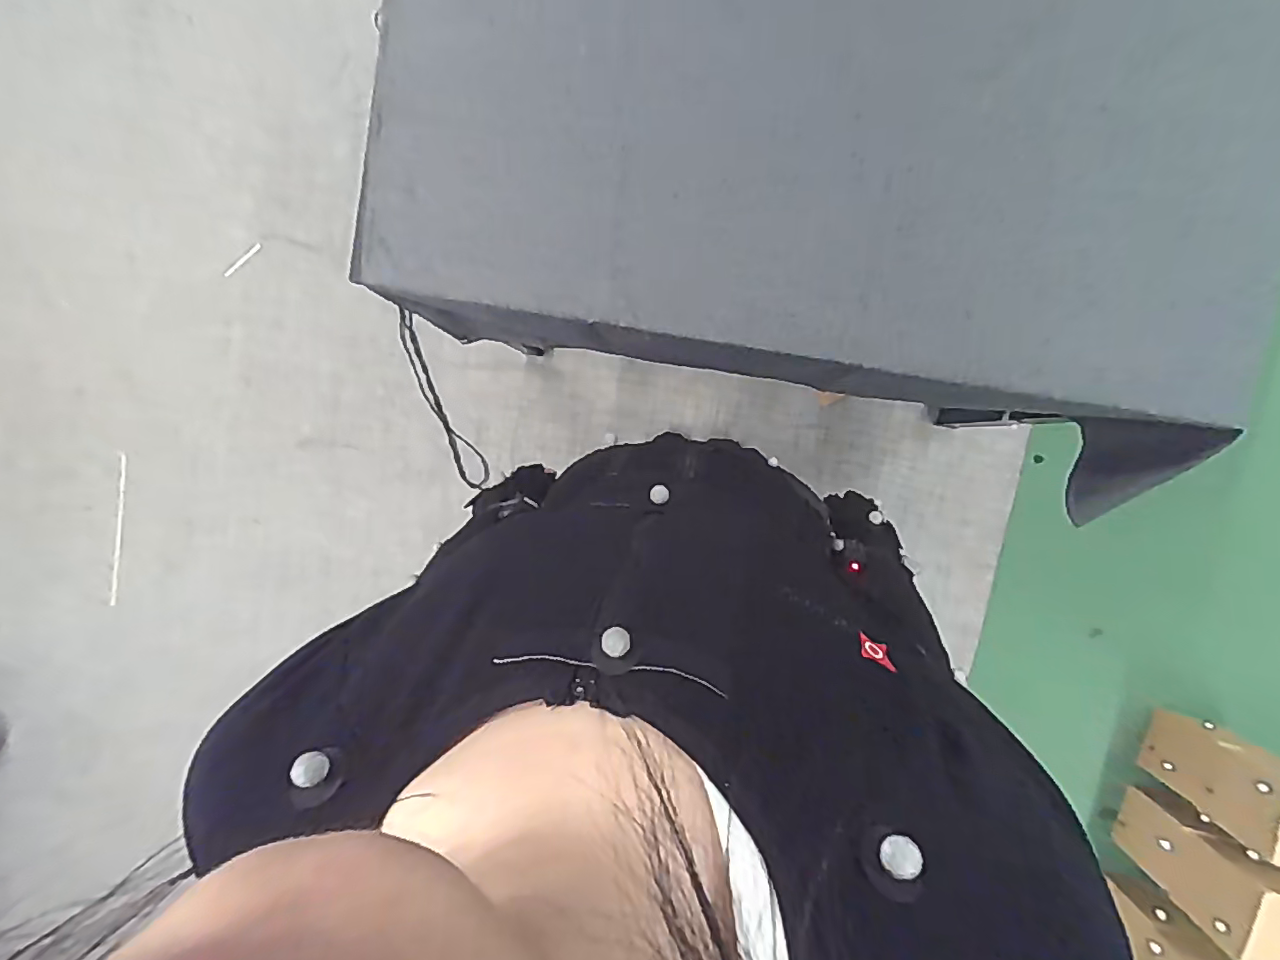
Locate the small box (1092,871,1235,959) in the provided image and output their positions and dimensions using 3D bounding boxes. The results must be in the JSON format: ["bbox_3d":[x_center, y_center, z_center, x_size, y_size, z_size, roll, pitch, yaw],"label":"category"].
[{"bbox_3d":[1.308,1.137,1.363,0.179,0.176,0.168,11,96,6],"label":"small box"}]

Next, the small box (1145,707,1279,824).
[{"bbox_3d":[1.406,0.684,1.319,0.179,0.176,0.168,15,96,5],"label":"small box"}]

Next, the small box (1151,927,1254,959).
[{"bbox_3d":[1.290,1.150,1.200,0.179,0.176,0.168,10,96,5],"label":"small box"}]
